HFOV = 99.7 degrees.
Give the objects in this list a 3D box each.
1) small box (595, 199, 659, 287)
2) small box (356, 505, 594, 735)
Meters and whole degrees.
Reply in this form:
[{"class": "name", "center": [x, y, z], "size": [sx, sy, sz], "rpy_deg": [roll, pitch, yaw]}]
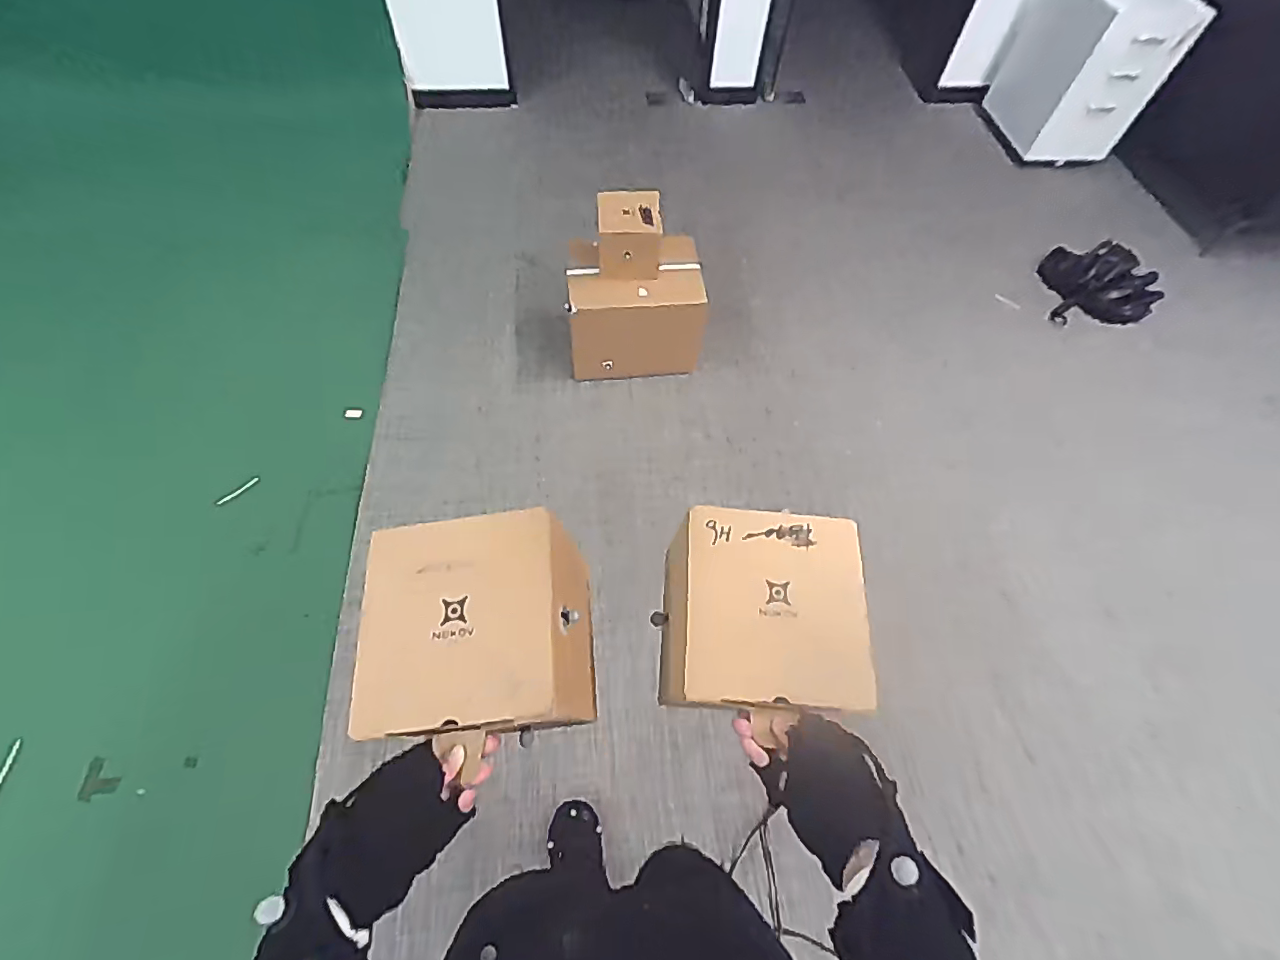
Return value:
[{"class": "small box", "center": [-0.039, -0.684, 1.574], "size": [0.179, 0.176, 0.168], "rpy_deg": [1, 63, -3]}, {"class": "small box", "center": [-0.143, 0.145, 0.528], "size": [0.168, 0.176, 0.179], "rpy_deg": [-8, 63, 3]}]
